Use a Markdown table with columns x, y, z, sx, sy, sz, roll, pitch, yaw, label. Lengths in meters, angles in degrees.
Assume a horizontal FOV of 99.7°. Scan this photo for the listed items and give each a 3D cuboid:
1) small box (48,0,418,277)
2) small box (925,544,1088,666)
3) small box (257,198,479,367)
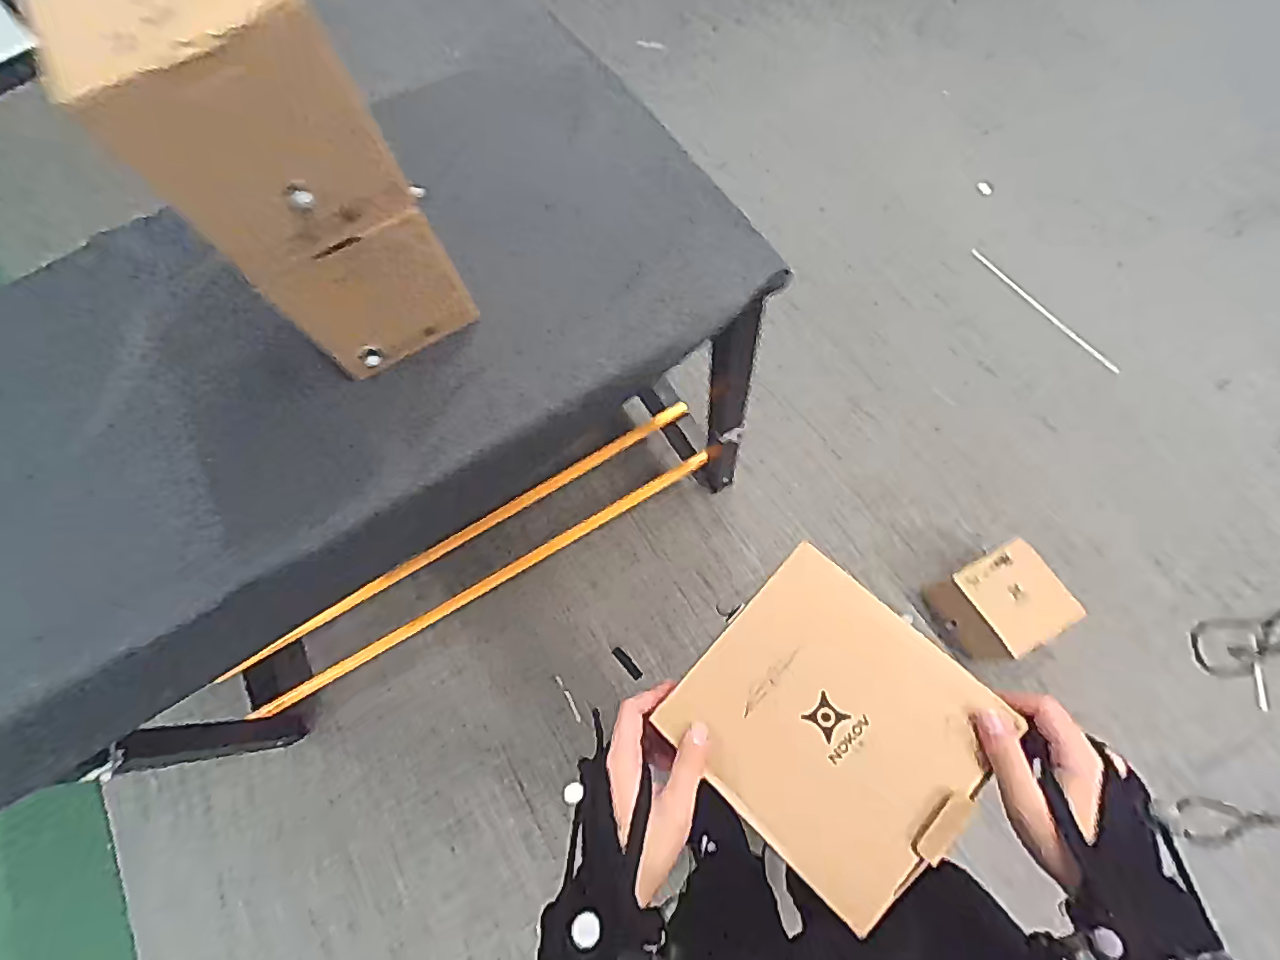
| x | y | z | sx | sy | sz | roll | pitch | yaw | label |
| --- | --- | --- | --- | --- | --- | --- | --- | --- | --- |
| -0.327 | -0.314 | 0.461 | 0.168 | 0.176 | 0.179 | -32 | 69 | -6 | small box |
| 0.723 | 0.255 | 1.090 | 0.168 | 0.176 | 0.179 | -29 | 70 | -5 | small box |
| -0.309 | -0.253 | 0.613 | 0.168 | 0.176 | 0.179 | -30 | 68 | -6 | small box |
